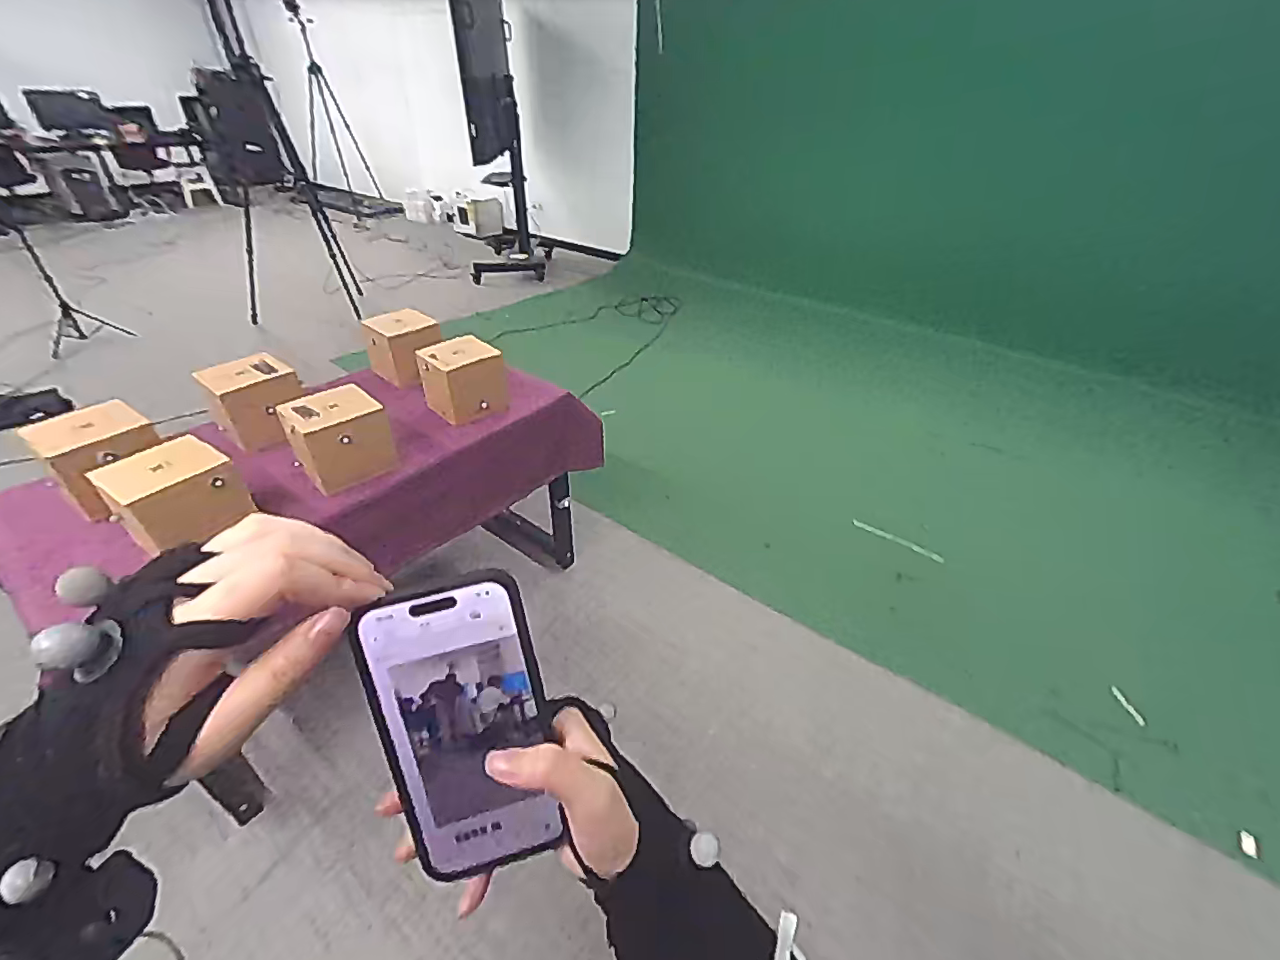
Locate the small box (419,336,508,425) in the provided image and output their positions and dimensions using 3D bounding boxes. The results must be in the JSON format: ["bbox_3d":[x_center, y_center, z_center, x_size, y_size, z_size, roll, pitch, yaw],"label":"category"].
[{"bbox_3d":[-0.483,-0.279,1.505,0.179,0.176,0.168,-29,46,-35],"label":"small box"}]

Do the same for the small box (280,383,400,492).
[{"bbox_3d":[-0.687,-0.099,1.253,0.168,0.176,0.179,32,45,33],"label":"small box"}]

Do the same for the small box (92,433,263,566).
[{"bbox_3d":[-0.893,0.038,1.060,0.168,0.176,0.179,22,40,25],"label":"small box"}]

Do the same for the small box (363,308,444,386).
[{"bbox_3d":[-0.718,-0.410,1.667,0.179,0.176,0.168,30,45,31],"label":"small box"}]
